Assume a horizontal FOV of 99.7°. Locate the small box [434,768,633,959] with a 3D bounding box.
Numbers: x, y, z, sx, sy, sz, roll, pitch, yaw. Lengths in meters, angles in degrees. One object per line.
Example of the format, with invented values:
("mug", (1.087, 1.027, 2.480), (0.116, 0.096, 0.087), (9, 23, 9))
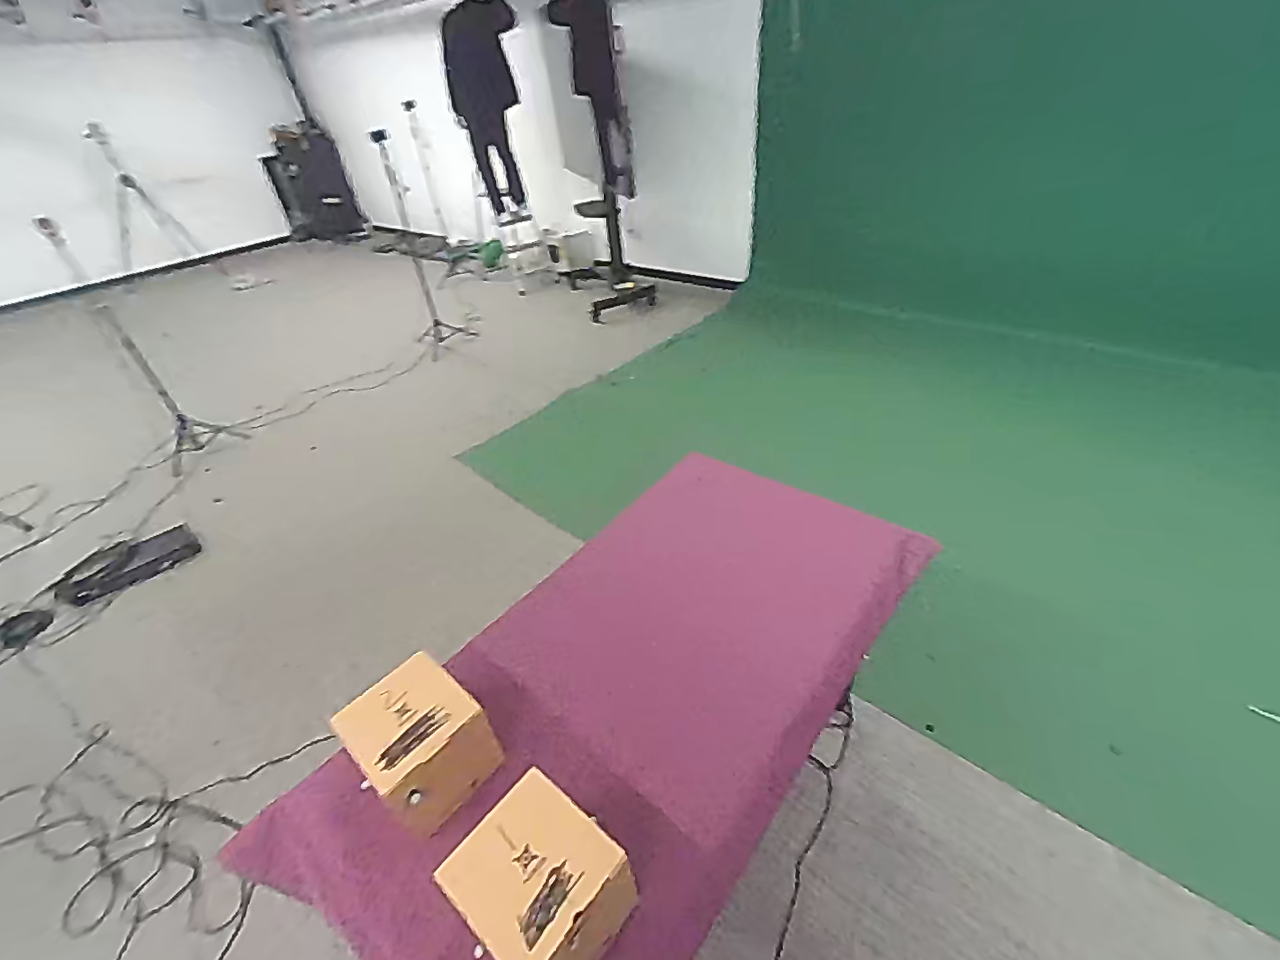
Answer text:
("small box", (-0.126, 0.527, 0.698), (0.179, 0.176, 0.168), (23, 45, 34))
